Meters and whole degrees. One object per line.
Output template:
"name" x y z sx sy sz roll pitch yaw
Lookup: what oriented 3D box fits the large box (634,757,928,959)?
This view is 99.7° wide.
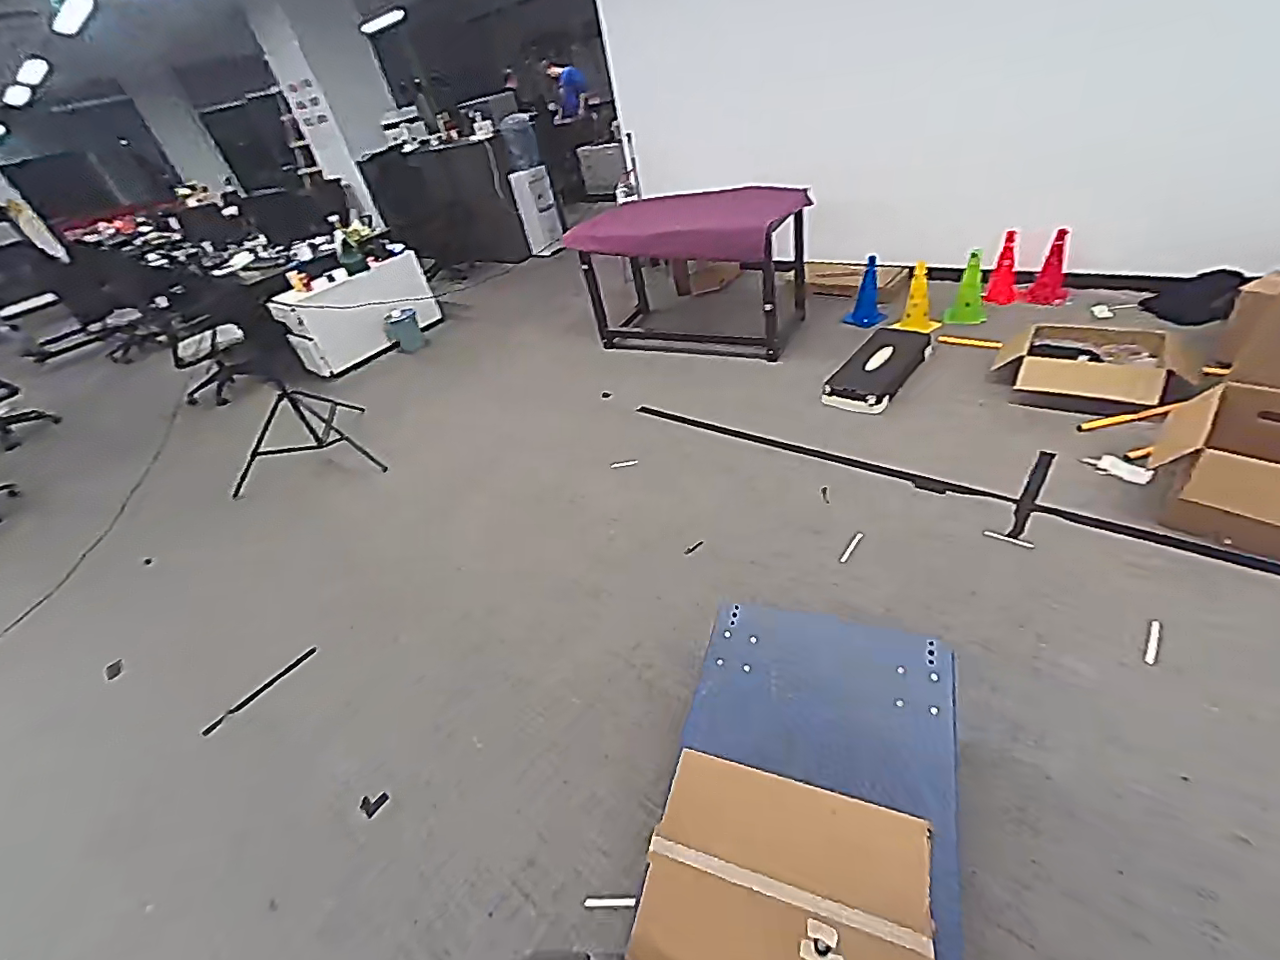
"large box" 0.247 0.732 0.928 0.408 0.320 0.320 5 49 22
